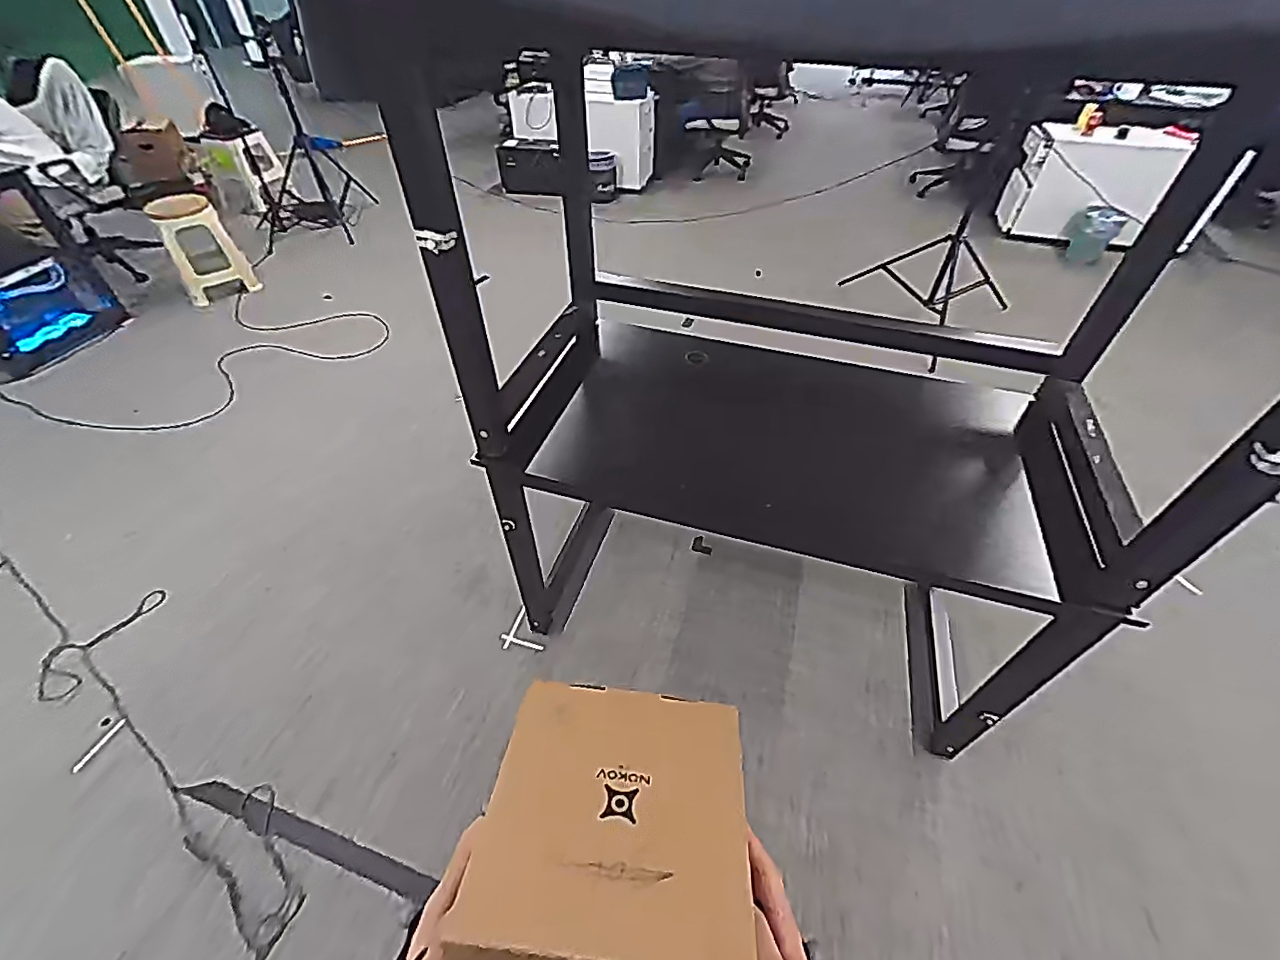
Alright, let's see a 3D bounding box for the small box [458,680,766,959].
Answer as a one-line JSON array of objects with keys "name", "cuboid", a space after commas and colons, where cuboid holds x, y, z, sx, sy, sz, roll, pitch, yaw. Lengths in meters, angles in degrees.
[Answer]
[{"name": "small box", "cuboid": [-0.015, 0.278, 0.386, 0.168, 0.176, 0.179, 6, 28, 2]}]
